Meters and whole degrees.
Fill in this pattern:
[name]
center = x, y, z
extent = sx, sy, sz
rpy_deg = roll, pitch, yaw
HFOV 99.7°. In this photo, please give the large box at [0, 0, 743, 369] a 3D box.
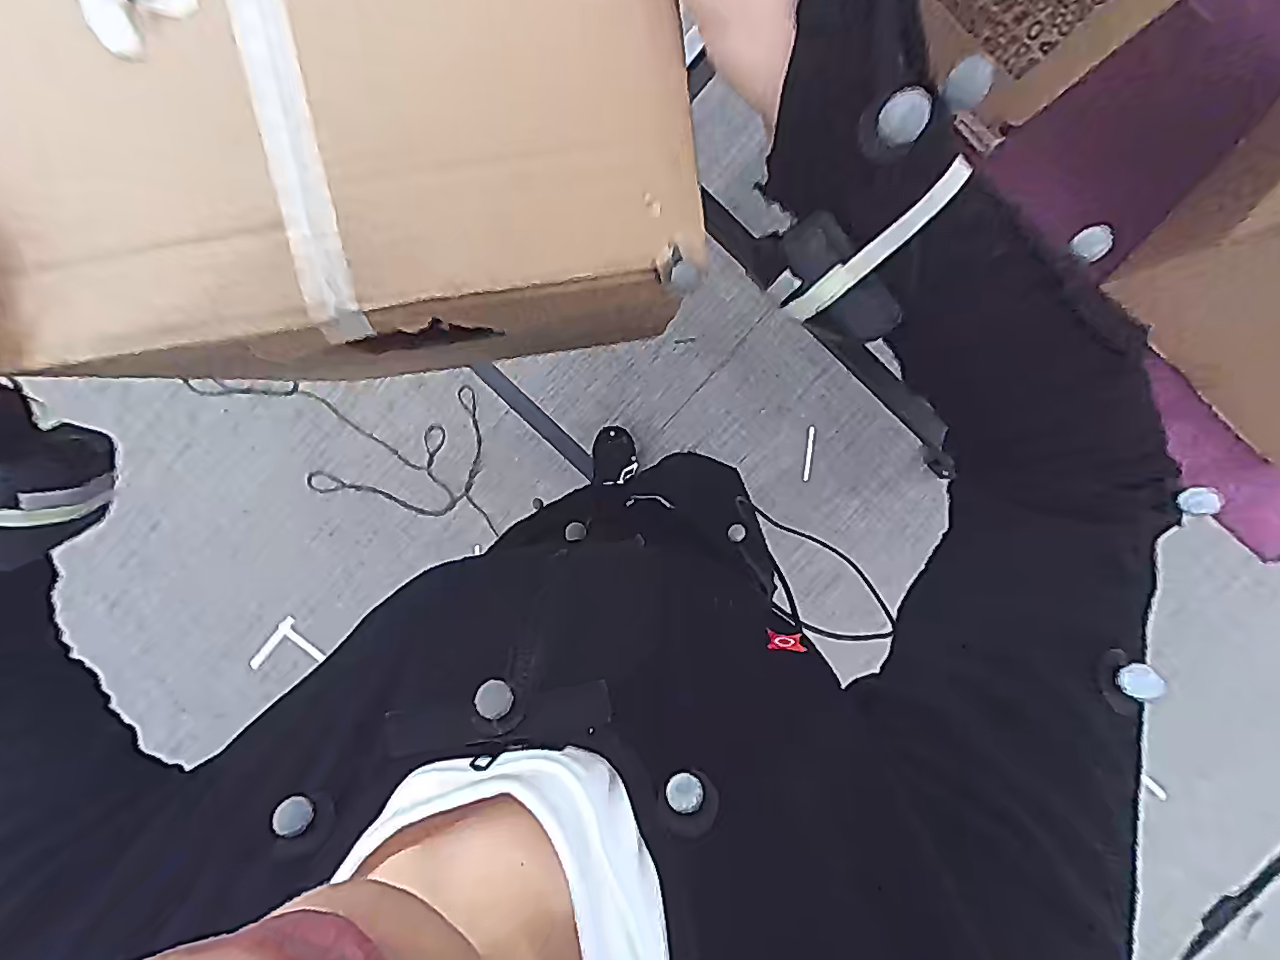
[large box]
center = -0.144, -0.294, 0.330
extent = 0.320, 0.320, 0.408
rpy_deg = -8, 101, 1
